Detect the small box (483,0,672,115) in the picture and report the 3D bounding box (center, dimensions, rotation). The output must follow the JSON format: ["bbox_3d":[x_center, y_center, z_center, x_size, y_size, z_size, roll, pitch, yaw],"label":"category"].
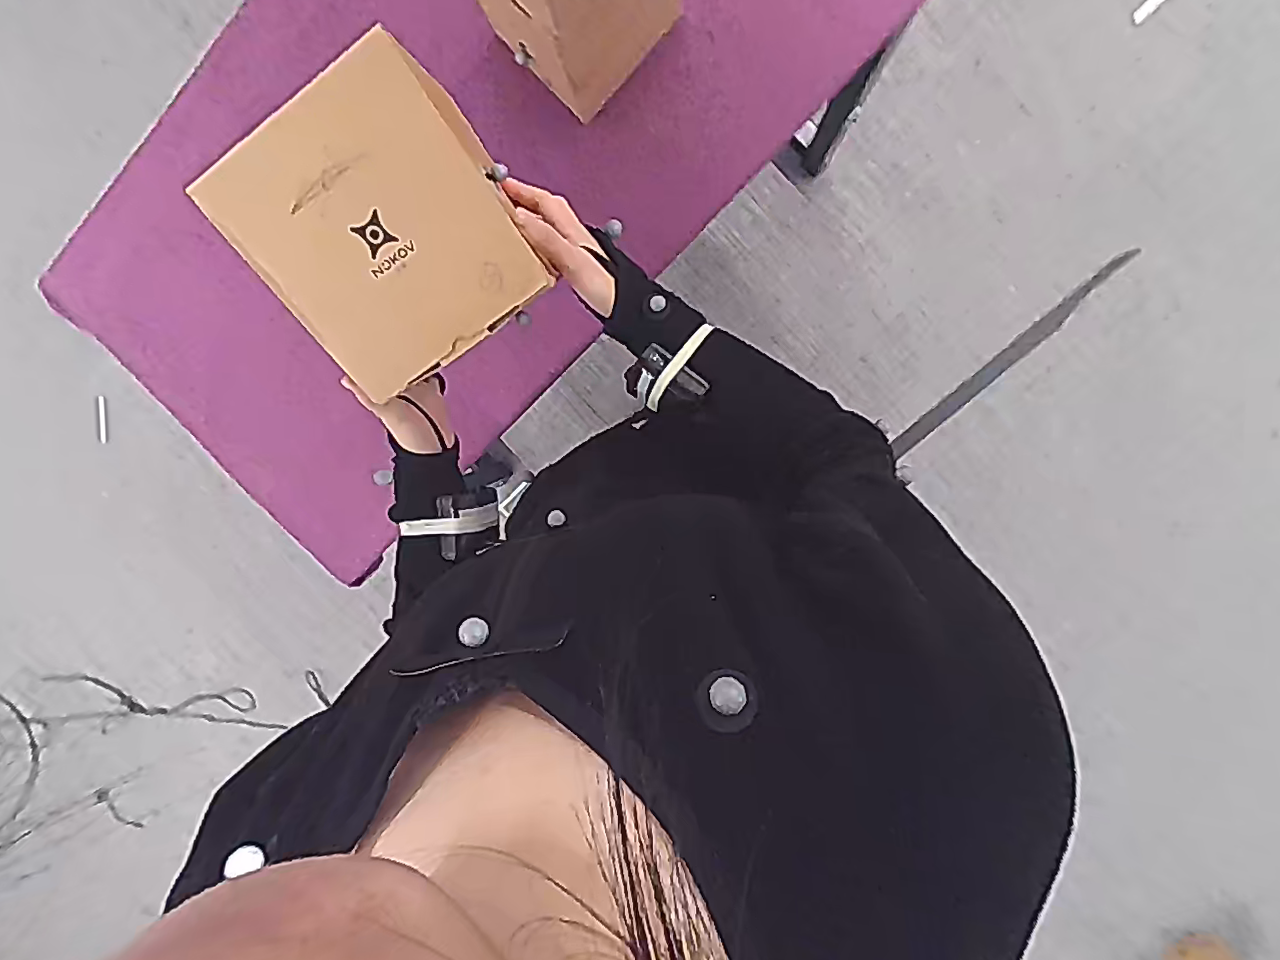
[{"bbox_3d":[-0.075,-0.560,0.589,0.168,0.176,0.179,45,100,-2],"label":"small box"}]

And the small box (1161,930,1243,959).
[{"bbox_3d":[1.614,1.394,1.484,0.179,0.176,0.168,44,100,-3],"label":"small box"}]

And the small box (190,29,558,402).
[{"bbox_3d":[-0.181,-0.195,0.438,0.168,0.176,0.179,-32,111,9],"label":"small box"}]
